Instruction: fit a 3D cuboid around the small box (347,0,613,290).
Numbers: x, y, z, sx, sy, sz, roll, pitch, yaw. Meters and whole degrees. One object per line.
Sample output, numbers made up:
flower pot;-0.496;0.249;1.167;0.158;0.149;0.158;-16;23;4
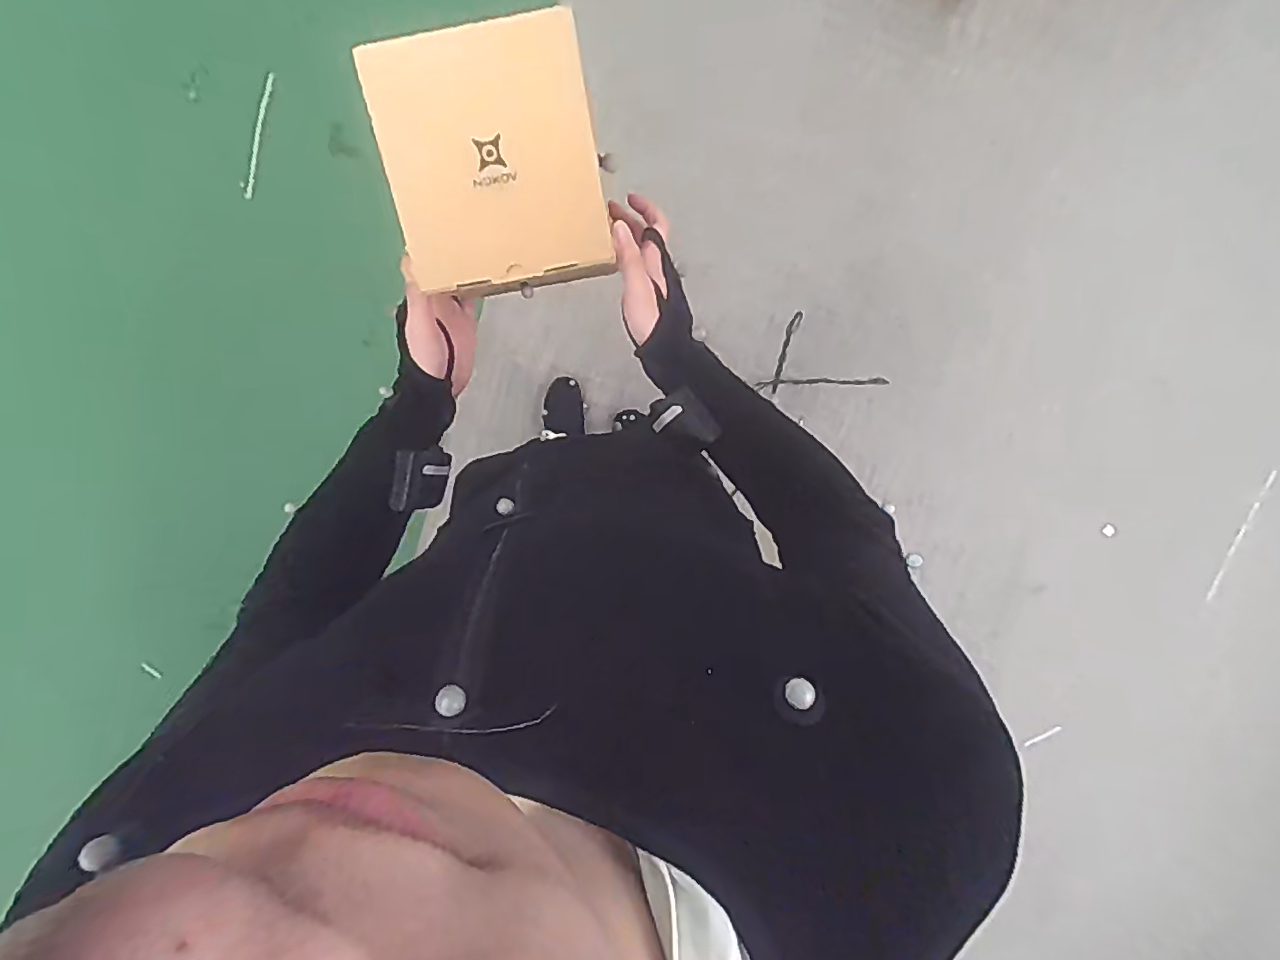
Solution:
small box;-0.120;-0.273;0.483;0.168;0.176;0.179;-9;110;1
